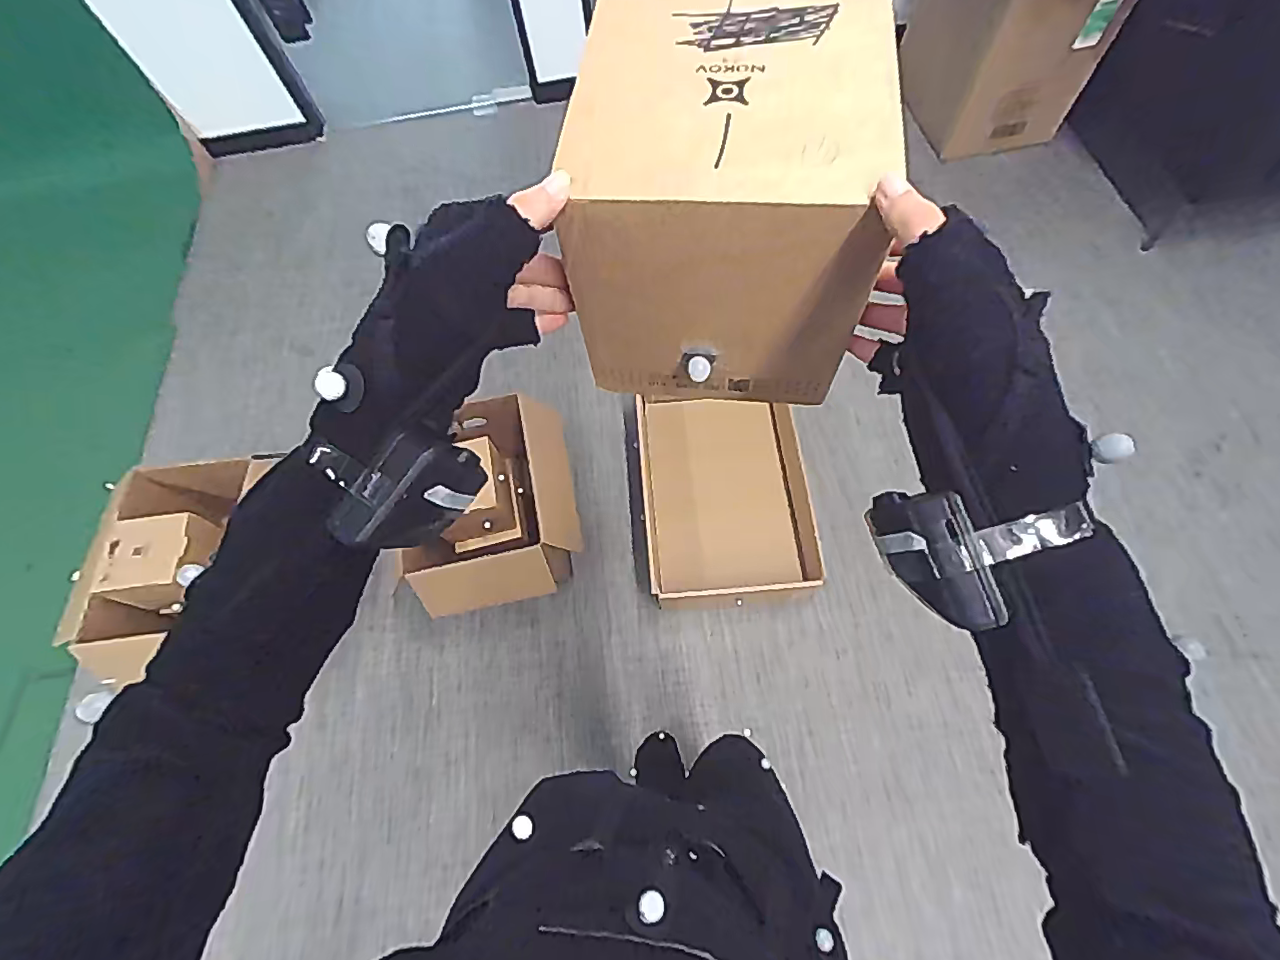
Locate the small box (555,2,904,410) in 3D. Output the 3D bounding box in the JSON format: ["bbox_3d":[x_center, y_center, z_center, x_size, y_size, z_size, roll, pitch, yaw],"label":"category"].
[{"bbox_3d":[0.055,-0.169,0.357,0.168,0.176,0.179,5,66,8],"label":"small box"}]

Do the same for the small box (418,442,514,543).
[{"bbox_3d":[-0.402,0.038,1.266,0.168,0.176,0.179,-13,66,-3],"label":"small box"}]
